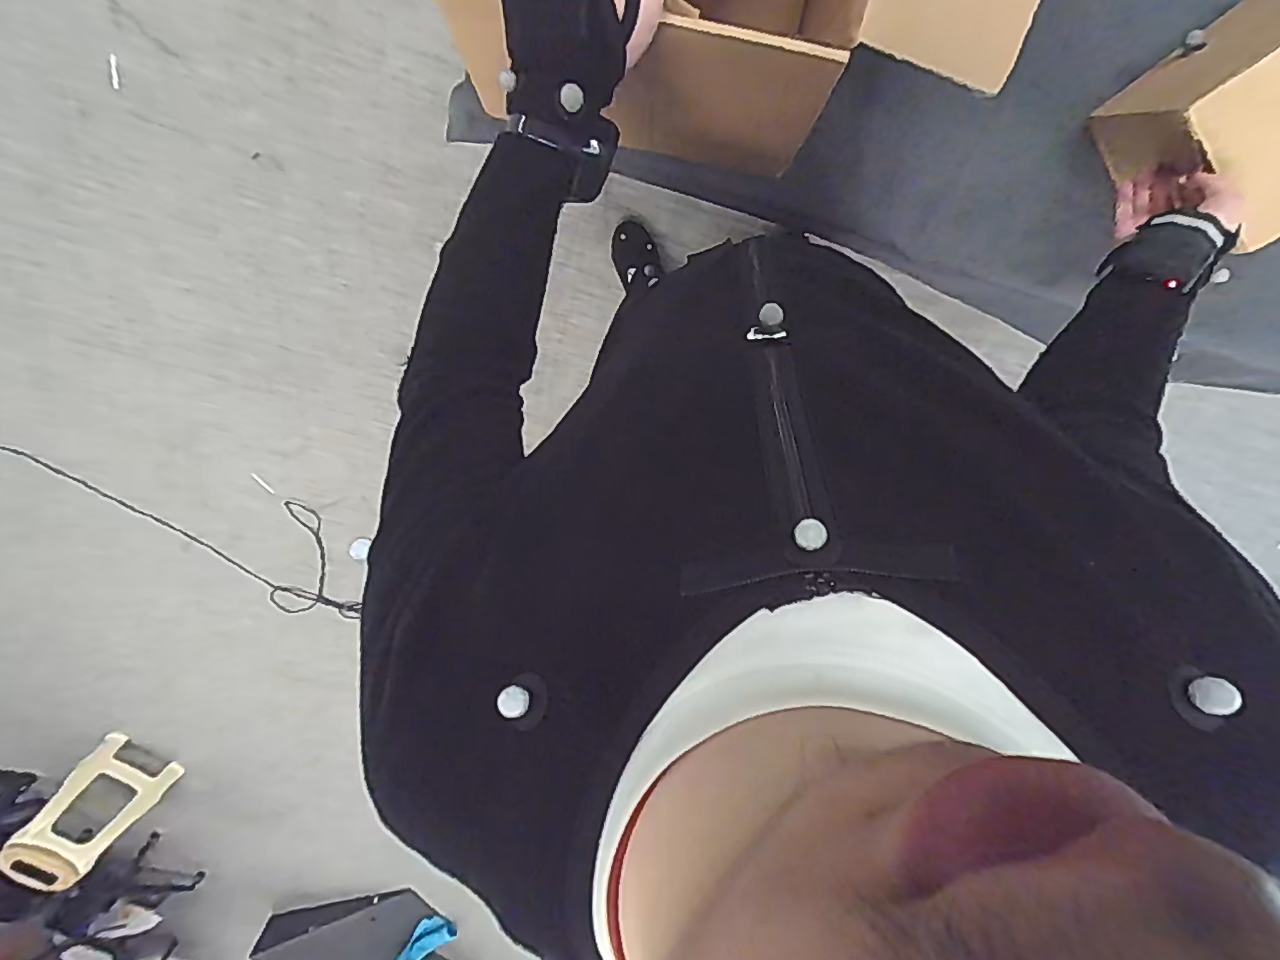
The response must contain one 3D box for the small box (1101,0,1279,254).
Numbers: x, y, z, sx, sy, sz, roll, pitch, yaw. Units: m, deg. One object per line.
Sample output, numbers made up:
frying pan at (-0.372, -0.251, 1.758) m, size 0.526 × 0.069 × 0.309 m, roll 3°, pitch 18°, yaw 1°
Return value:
small box at (0.624, -0.365, 0.551) m, size 0.179 × 0.176 × 0.168 m, roll -35°, pitch 109°, yaw 27°
